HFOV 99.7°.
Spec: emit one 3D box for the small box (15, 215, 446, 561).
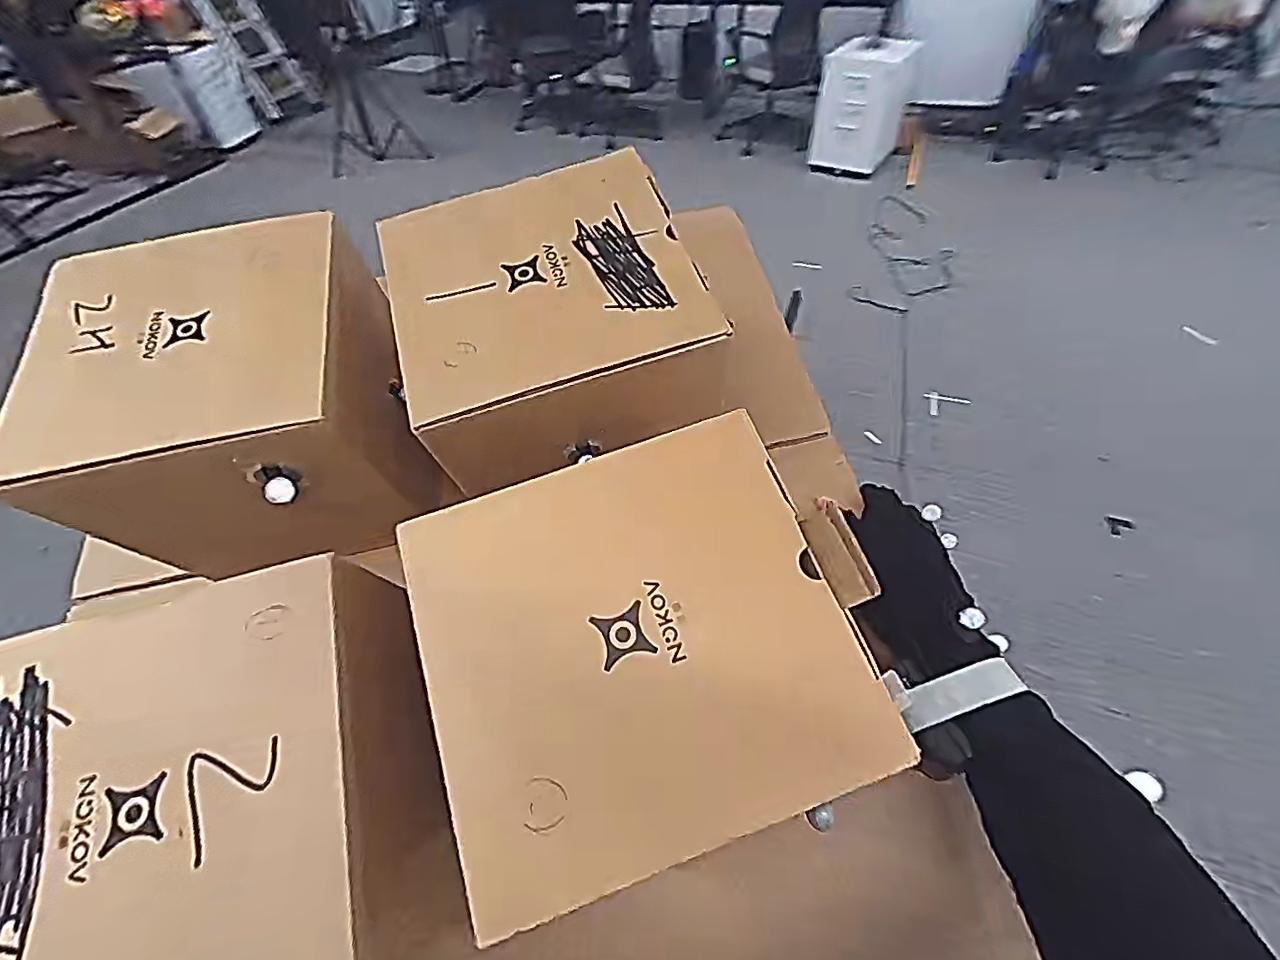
[{"bbox_3d":[-0.253,-0.054,0.393,0.179,0.176,0.168,-11,63,-2],"label":"small box"}]
